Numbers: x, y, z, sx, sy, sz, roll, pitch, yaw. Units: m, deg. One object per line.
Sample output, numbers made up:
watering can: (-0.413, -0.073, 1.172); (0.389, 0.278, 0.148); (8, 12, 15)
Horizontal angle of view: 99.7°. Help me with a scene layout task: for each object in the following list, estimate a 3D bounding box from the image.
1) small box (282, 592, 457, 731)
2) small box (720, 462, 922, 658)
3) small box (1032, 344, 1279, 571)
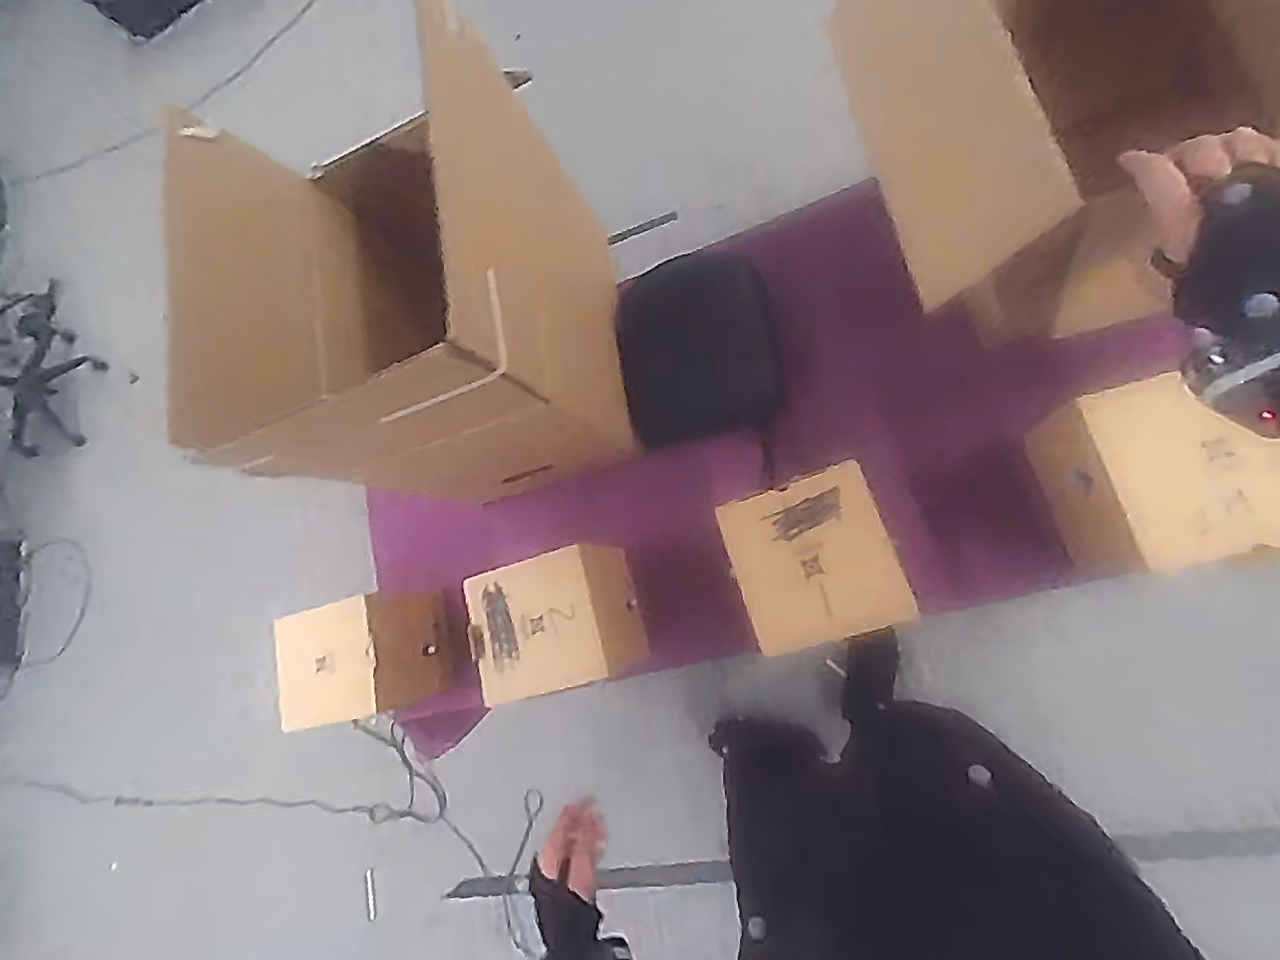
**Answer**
small box: (-0.419, 0.277, 0.850); (0.179, 0.176, 0.168); (-17, 76, 15)
small box: (0.212, 0.098, 0.657); (0.168, 0.176, 0.179); (-21, 76, 16)
small box: (0.542, -0.007, 0.555); (0.168, 0.176, 0.179); (-16, 76, 18)
